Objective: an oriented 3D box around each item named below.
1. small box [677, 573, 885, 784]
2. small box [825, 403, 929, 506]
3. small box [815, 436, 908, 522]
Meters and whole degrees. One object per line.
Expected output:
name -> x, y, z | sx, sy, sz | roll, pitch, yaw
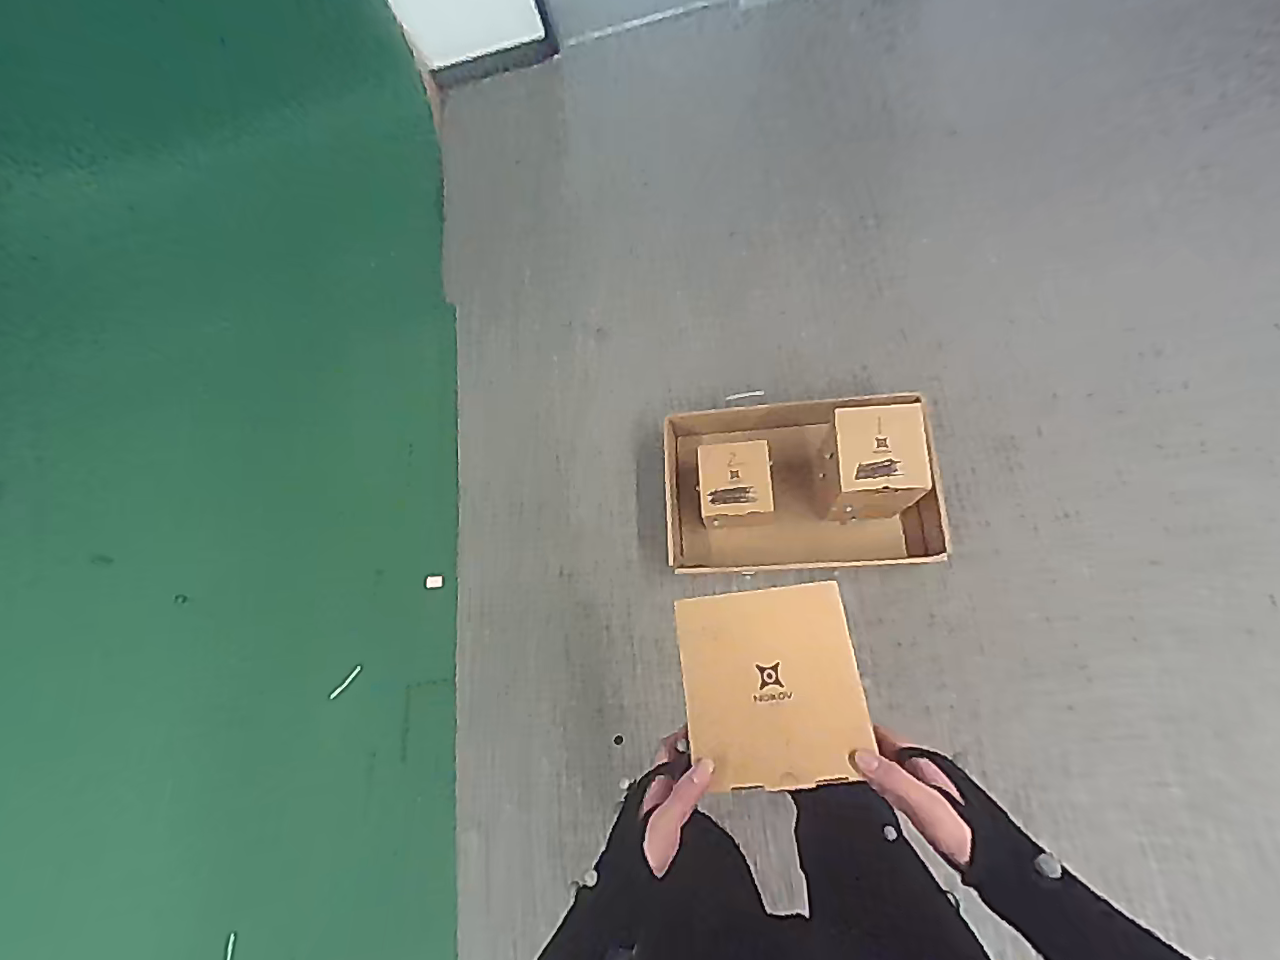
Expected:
small box -> 0.133, 0.213, 0.578 | 0.168, 0.176, 0.179 | -8, 66, 4
small box -> 0.485, -0.044, 1.128 | 0.168, 0.176, 0.179 | -2, 74, 12
small box -> 0.516, -0.003, 1.283 | 0.168, 0.176, 0.179 | -4, 75, 11
